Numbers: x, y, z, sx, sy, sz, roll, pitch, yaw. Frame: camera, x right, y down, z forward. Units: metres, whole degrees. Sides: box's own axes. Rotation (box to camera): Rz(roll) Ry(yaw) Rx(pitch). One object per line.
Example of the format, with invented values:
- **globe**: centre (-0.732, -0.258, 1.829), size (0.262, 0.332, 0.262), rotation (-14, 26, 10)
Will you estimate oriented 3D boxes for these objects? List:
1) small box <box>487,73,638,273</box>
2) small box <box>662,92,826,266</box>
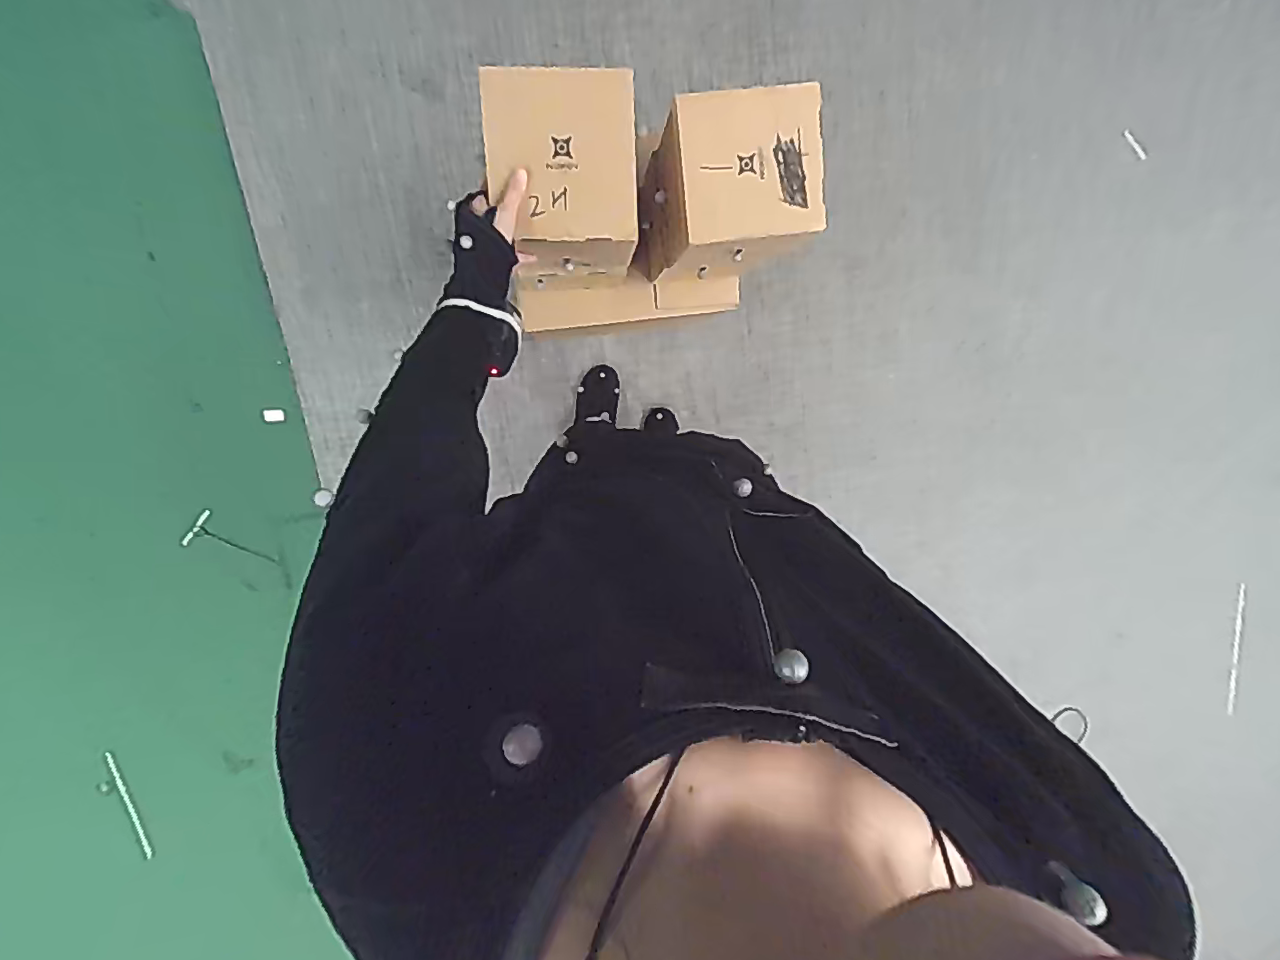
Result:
- **small box**: centre (-0.092, -0.369, 0.680), size (0.168, 0.176, 0.179), rotation (-2, 102, -4)
- **small box**: centre (0.130, -0.389, 0.725), size (0.179, 0.176, 0.168), rotation (-5, 103, -4)
